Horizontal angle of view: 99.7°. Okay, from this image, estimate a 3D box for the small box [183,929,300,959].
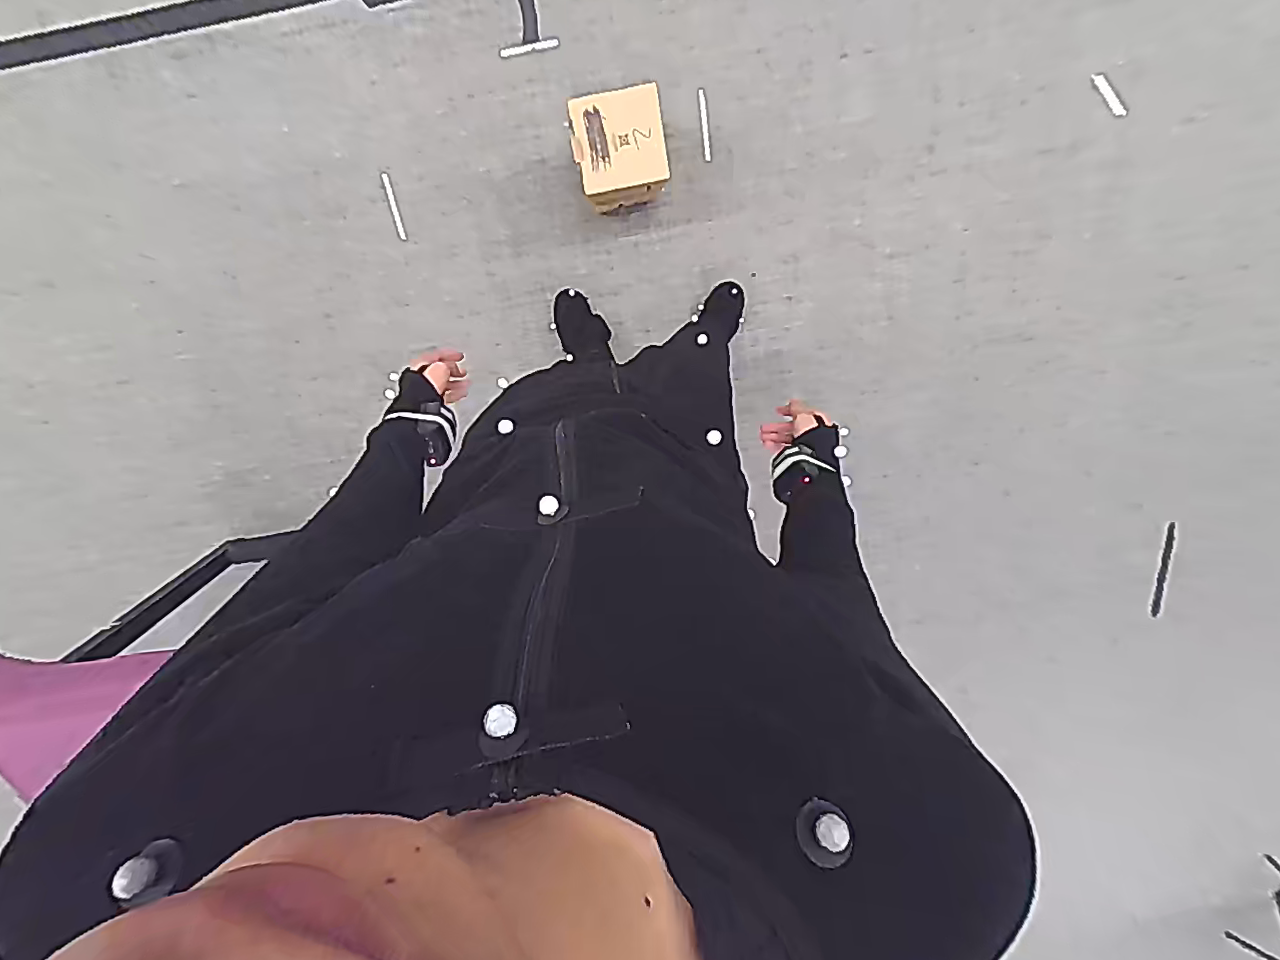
[{"bbox_3d":[-0.746,0.953,0.969,0.179,0.176,0.168,-8,113,1],"label":"small box"}]

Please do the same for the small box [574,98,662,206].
[{"bbox_3d":[-0.048,-0.757,1.269,0.168,0.176,0.179,-14,112,3],"label":"small box"}]
